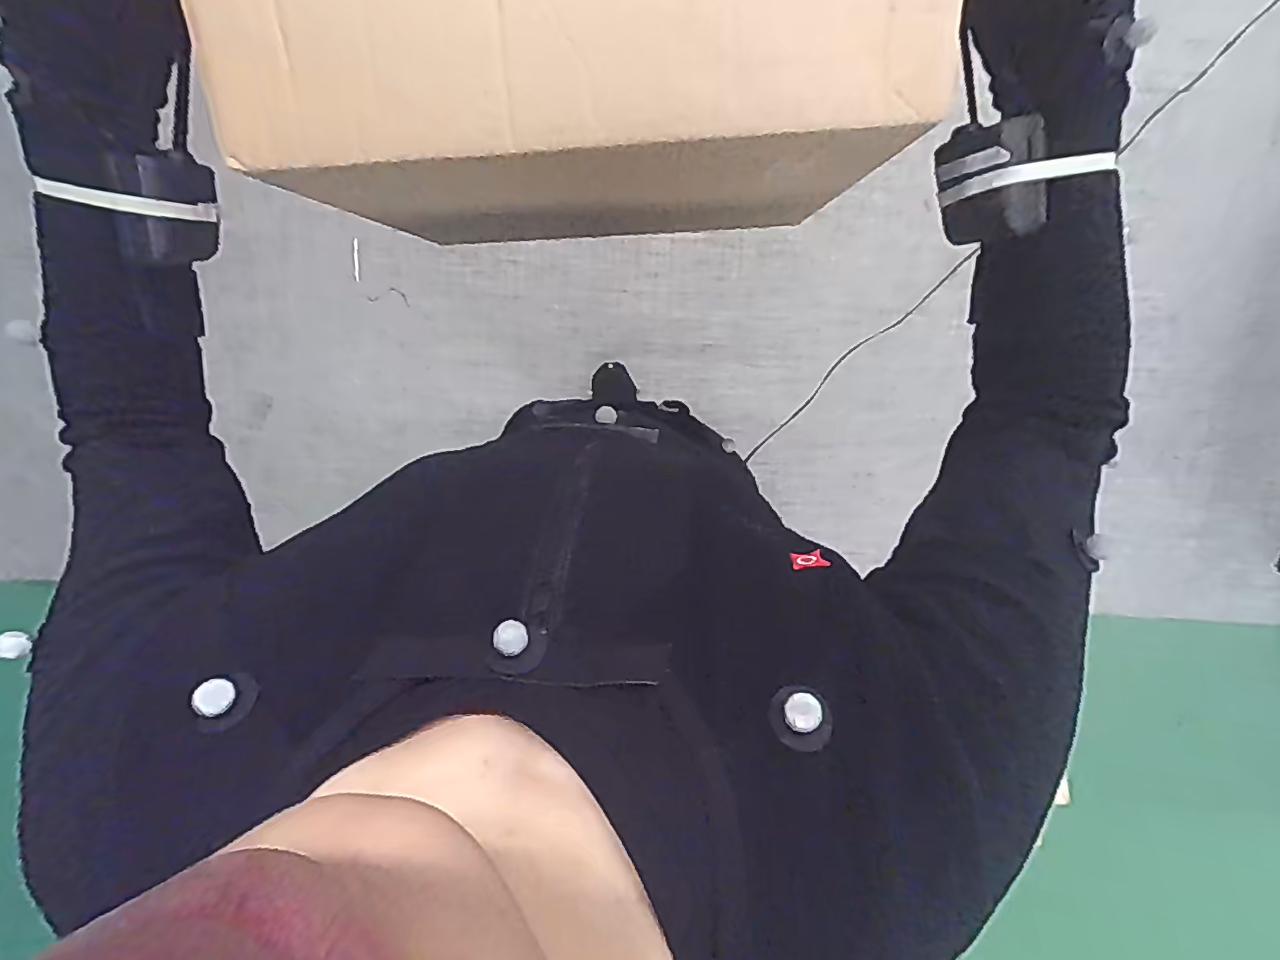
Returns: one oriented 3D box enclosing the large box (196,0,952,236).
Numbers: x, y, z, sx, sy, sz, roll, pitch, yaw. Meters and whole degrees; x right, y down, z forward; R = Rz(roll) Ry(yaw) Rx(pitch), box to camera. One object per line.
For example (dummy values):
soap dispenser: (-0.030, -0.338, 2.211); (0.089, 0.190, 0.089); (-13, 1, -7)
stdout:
large box: (-0.042, -0.383, 0.401); (0.408, 0.320, 0.320); (-3, 107, 1)
